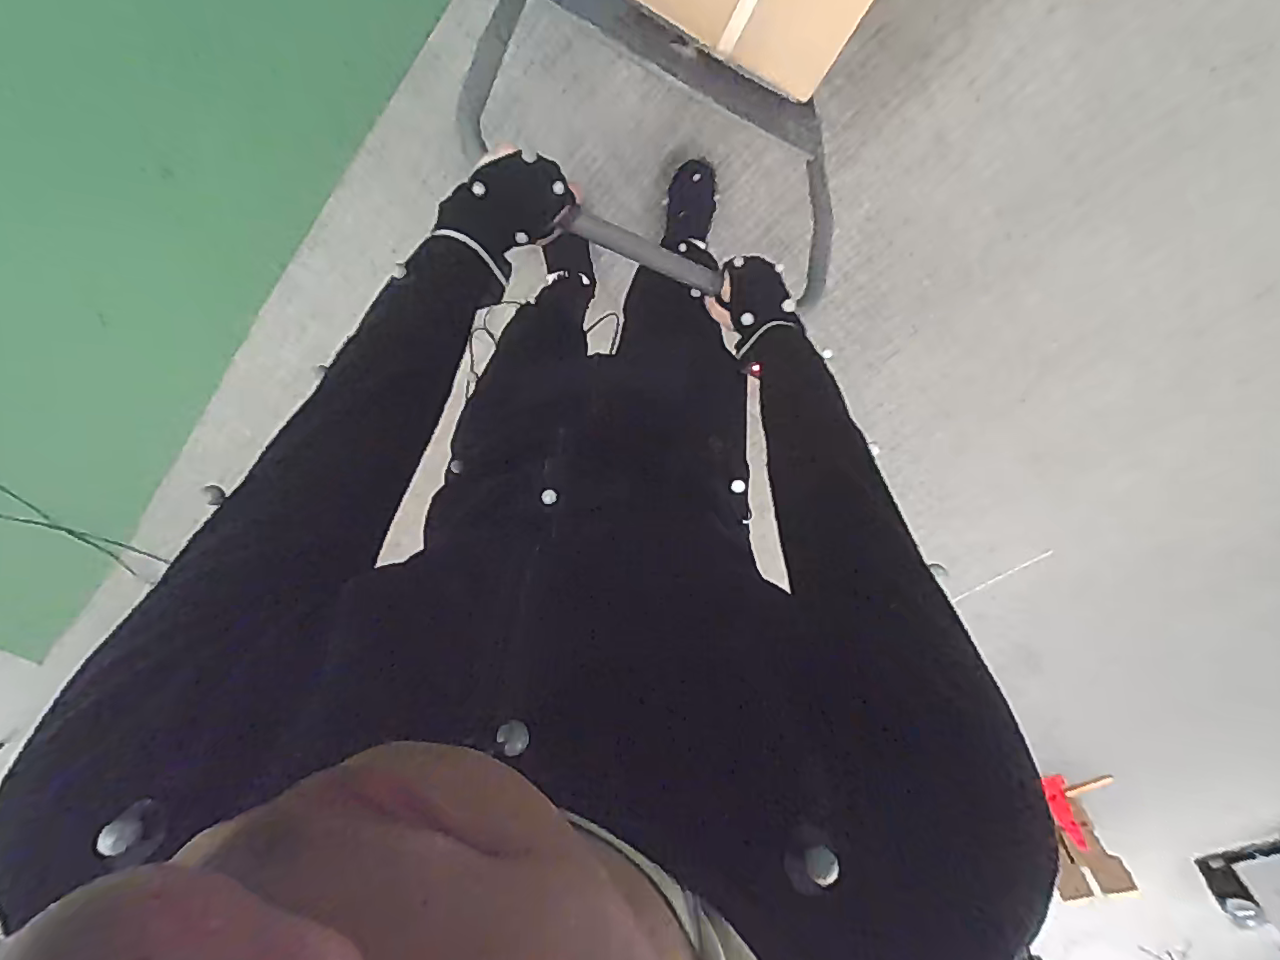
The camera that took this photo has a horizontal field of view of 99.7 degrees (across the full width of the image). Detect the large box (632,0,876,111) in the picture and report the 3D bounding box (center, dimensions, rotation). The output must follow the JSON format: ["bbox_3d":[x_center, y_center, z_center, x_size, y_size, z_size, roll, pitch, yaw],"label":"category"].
[{"bbox_3d":[0.214,-0.846,0.745,0.320,0.320,0.408,17,144,-20],"label":"large box"}]
